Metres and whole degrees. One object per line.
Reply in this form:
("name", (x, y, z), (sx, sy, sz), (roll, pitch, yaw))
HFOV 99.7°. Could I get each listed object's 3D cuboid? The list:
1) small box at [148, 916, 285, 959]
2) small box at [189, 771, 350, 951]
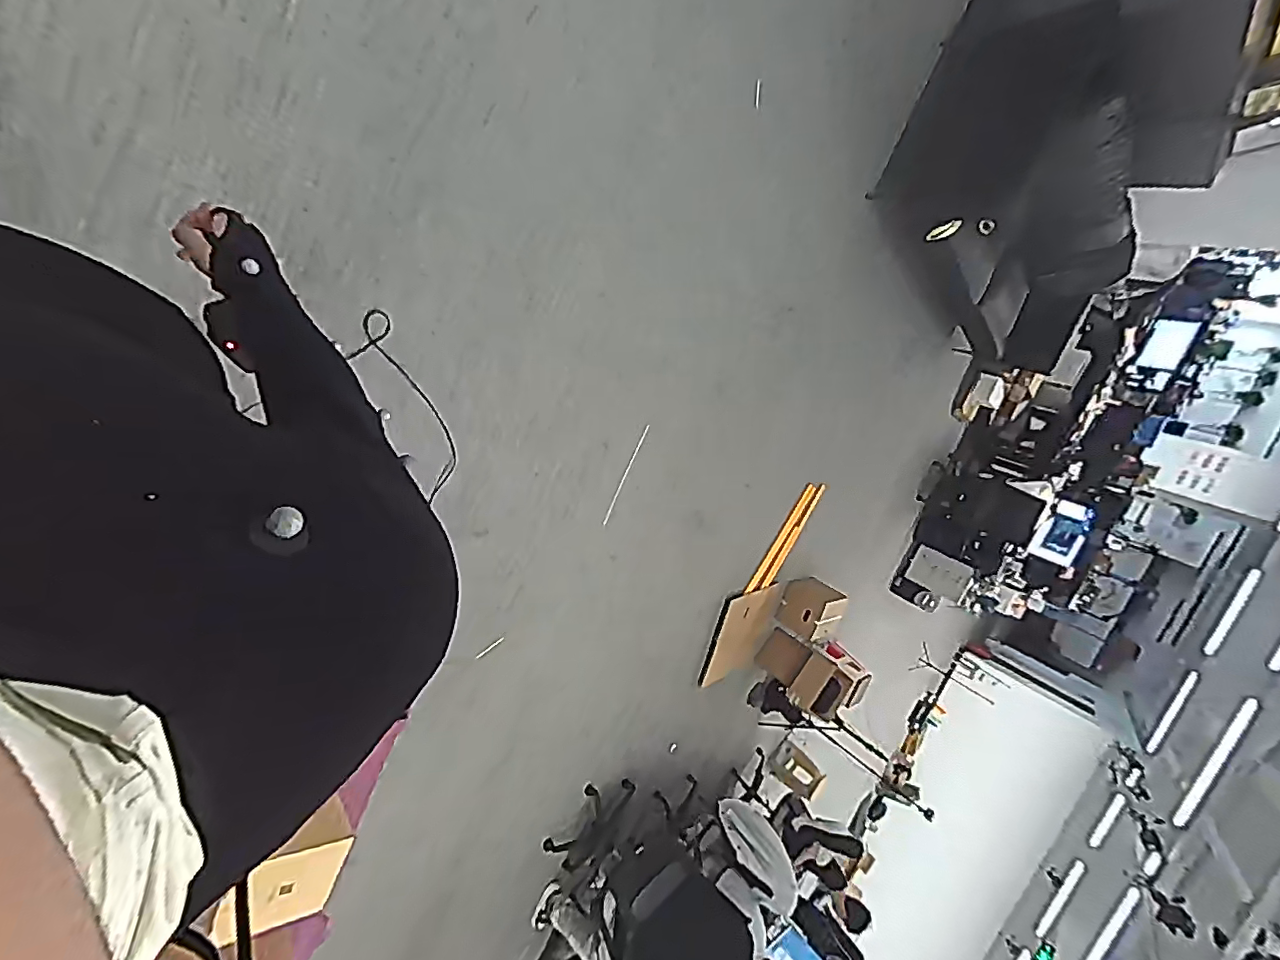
("small box", (-0.764, 0.899, 0.968), (0.179, 0.176, 0.168), (13, 103, -48))
("small box", (-0.642, 0.638, 0.935), (0.179, 0.176, 0.168), (18, 101, -48))
